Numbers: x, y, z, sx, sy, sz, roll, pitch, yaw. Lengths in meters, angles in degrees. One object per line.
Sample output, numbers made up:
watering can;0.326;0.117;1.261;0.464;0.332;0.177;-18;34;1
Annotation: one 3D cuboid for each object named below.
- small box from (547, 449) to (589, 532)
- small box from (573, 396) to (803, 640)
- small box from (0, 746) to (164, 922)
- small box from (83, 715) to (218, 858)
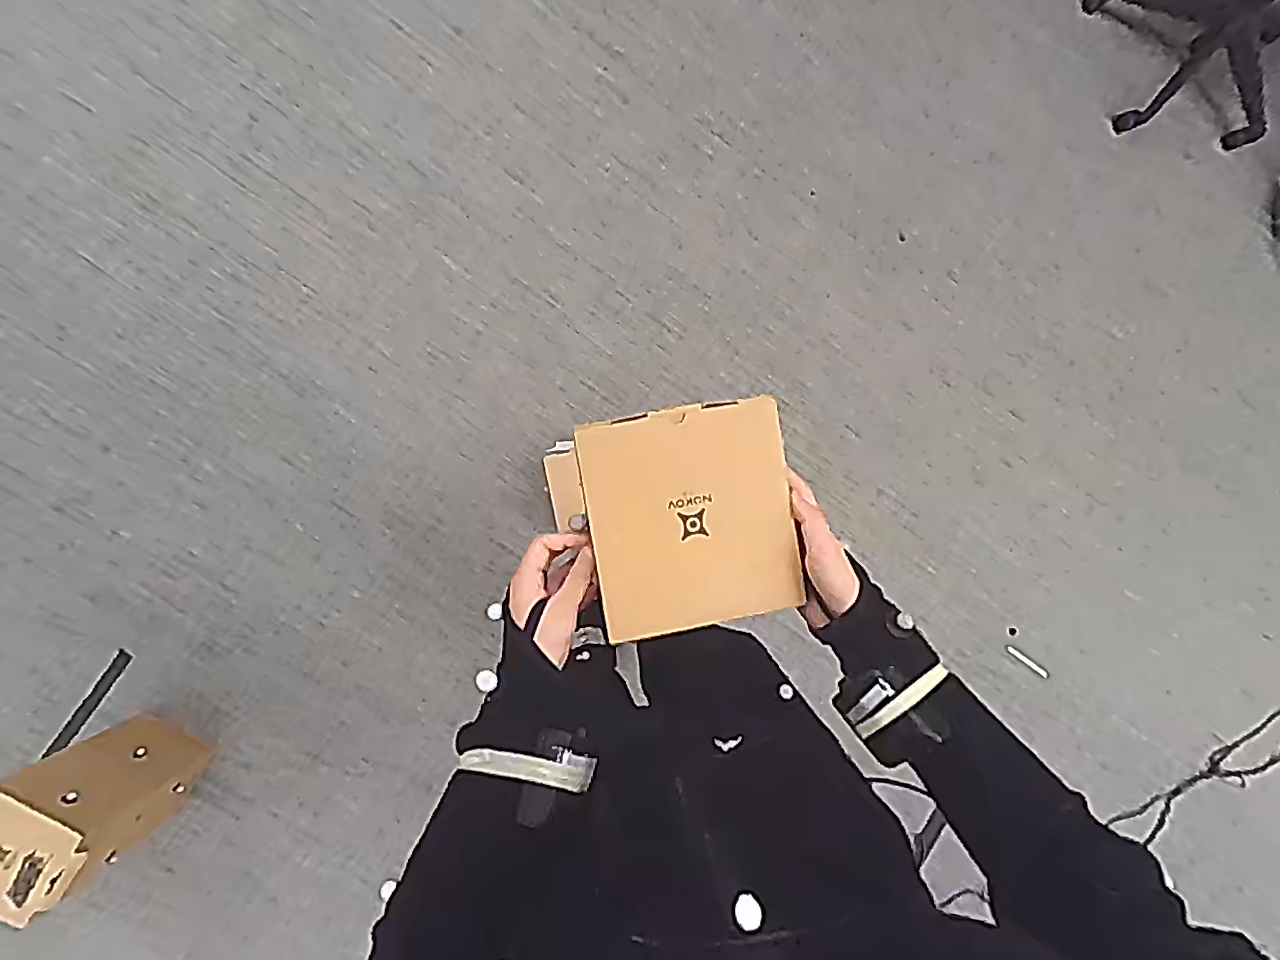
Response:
small box;-0.120;0.019;1.252;0.168;0.176;0.179;-12;89;-8
small box;0.034;0.028;0.512;0.168;0.176;0.179;-10;91;-6
small box;-1.012;0.605;0.952;0.179;0.176;0.168;31;84;-4
small box;-1.036;0.617;1.115;0.179;0.176;0.168;30;84;-4
